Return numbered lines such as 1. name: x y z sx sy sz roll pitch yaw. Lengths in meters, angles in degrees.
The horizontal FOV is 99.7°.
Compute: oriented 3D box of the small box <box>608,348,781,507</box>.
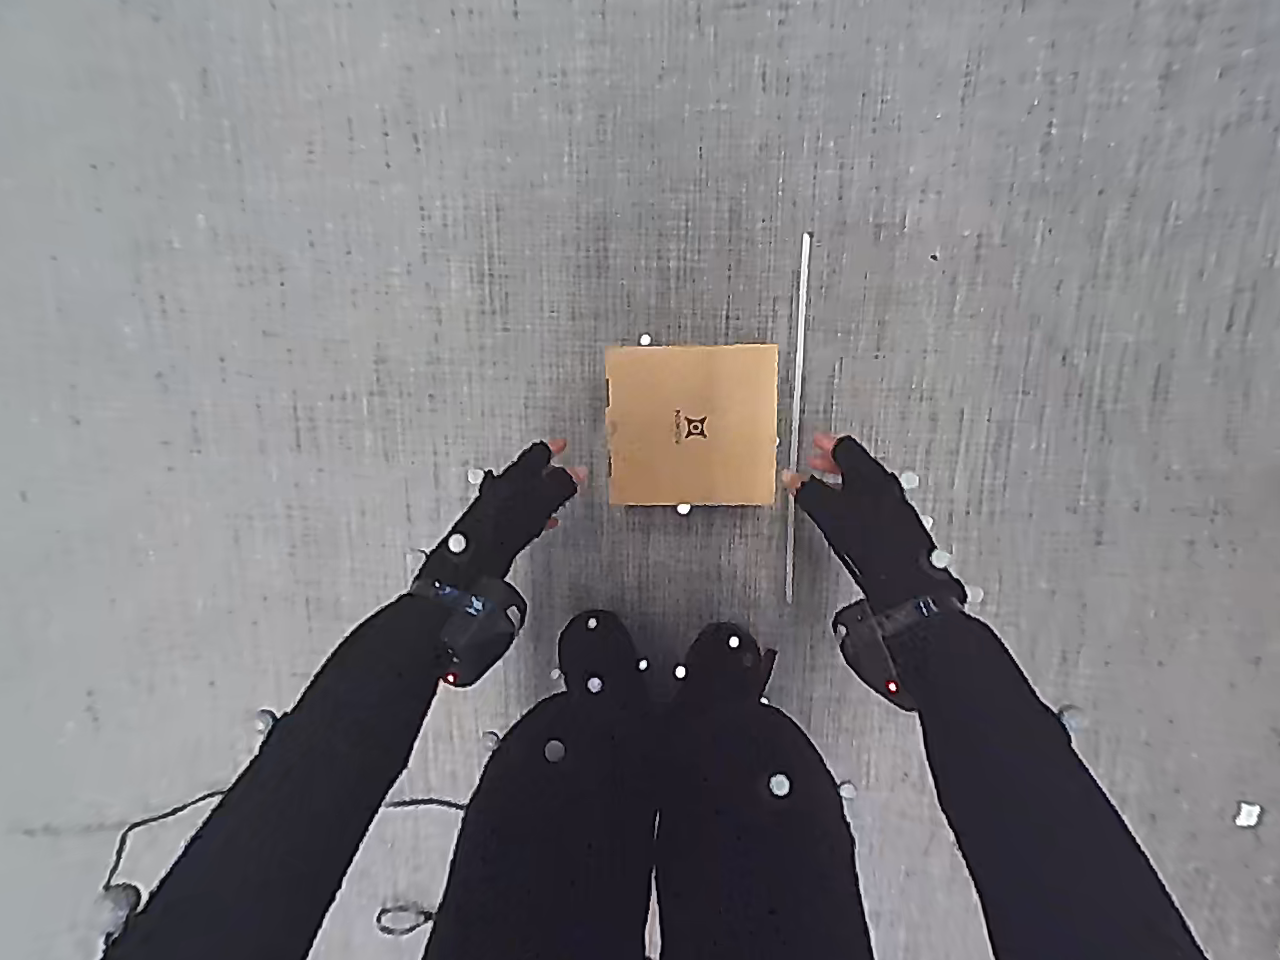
1. small box: 0.061 -0.066 0.632 0.179 0.176 0.168 -1 99 5
